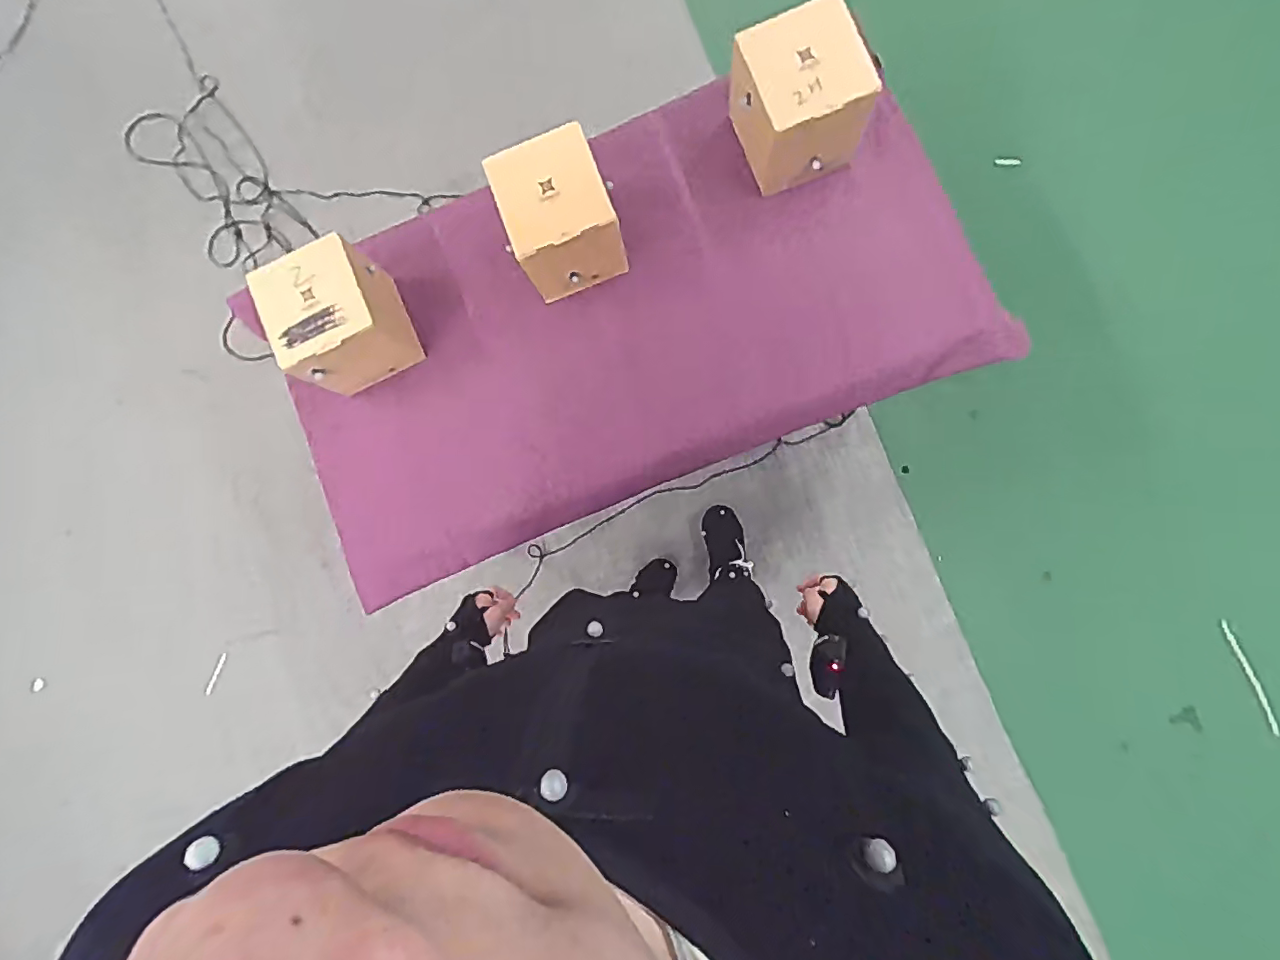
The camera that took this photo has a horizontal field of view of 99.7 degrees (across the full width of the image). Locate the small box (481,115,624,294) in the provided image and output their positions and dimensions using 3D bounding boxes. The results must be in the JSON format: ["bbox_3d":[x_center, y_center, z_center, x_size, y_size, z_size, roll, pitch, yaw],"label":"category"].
[{"bbox_3d":[-0.136,-0.444,0.897,0.168,0.176,0.179,-21,85,2],"label":"small box"}]

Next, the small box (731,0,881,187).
[{"bbox_3d":[0.253,-0.624,0.874,0.168,0.176,0.179,-21,85,5],"label":"small box"}]
